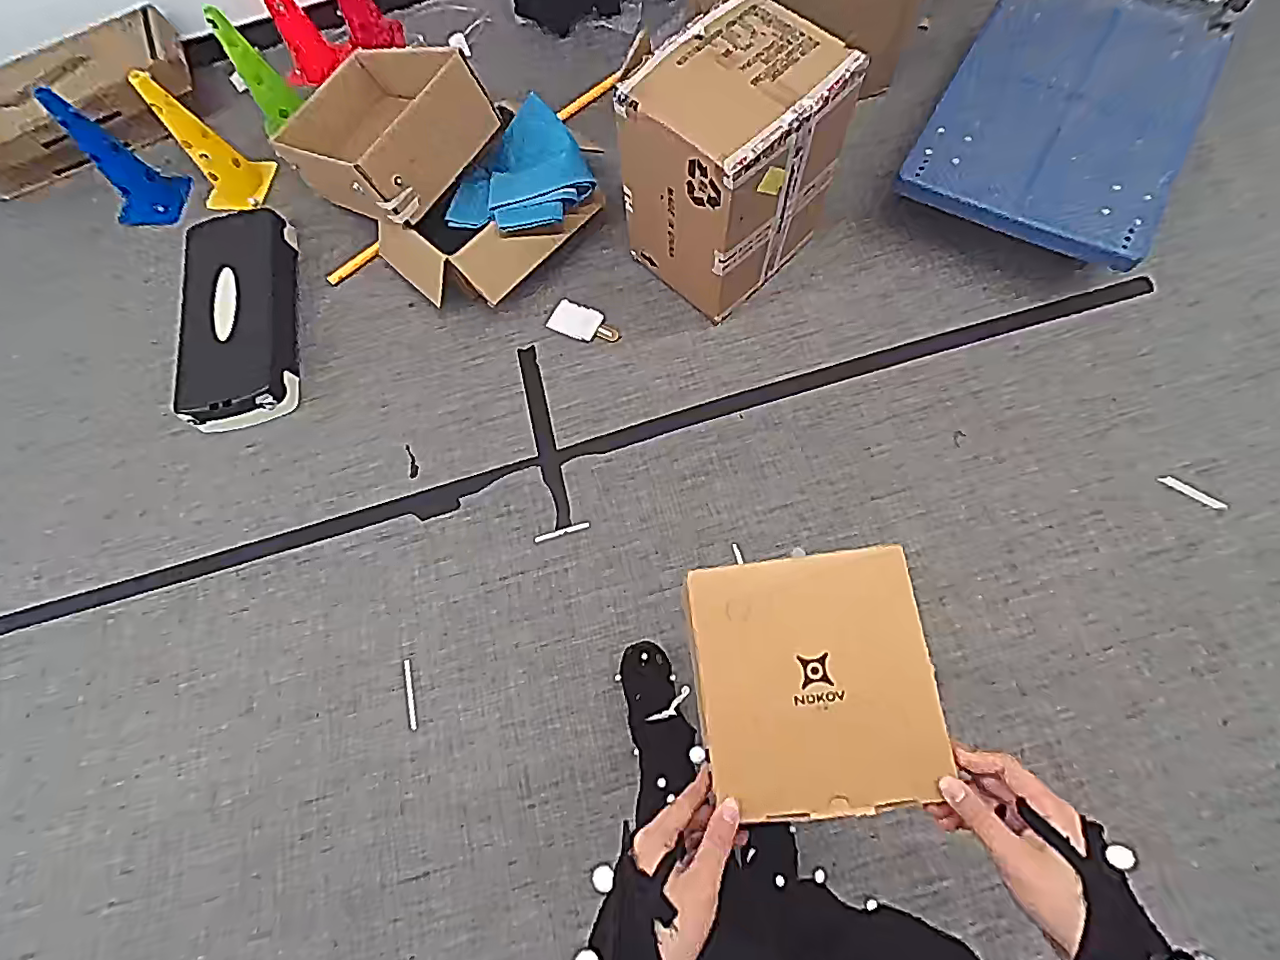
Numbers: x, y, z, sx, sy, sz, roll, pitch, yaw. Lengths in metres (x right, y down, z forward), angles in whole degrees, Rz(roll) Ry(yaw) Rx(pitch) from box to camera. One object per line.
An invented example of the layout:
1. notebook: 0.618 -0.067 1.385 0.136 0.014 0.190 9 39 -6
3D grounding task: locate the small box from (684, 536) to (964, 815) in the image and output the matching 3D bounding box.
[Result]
1. small box: 0.130 0.155 0.461 0.168 0.176 0.179 -7 75 1
